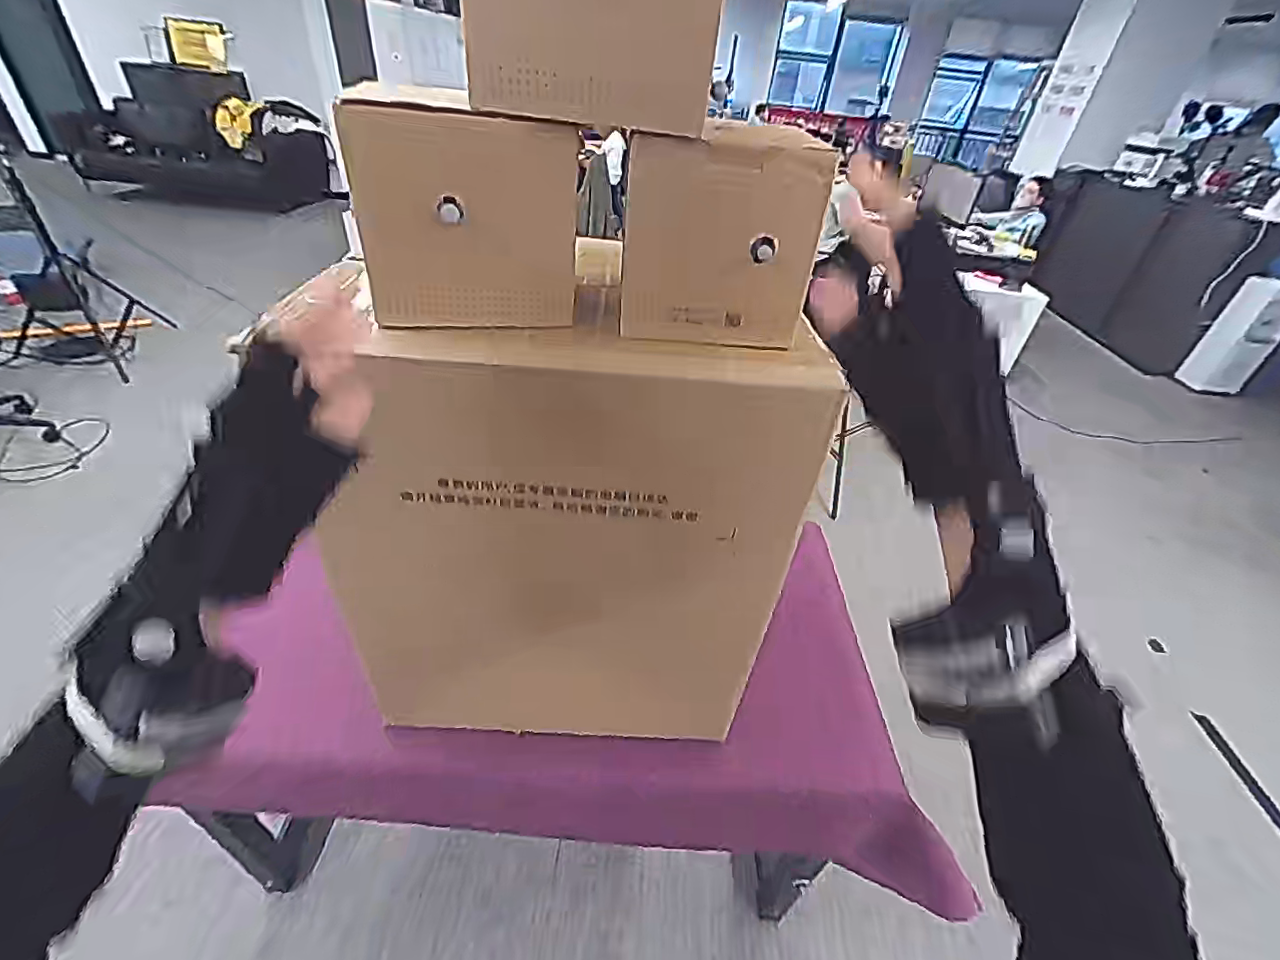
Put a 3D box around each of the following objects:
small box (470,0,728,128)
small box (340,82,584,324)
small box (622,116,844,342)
[{"bbox_3d":[-0.021,-0.377,0.410,0.179,0.176,0.168,6,38,-1],"label":"small box"},{"bbox_3d":[-0.151,-0.255,0.504,0.179,0.176,0.168,-3,39,-15],"label":"small box"},{"bbox_3d":[0.072,-0.246,0.525,0.168,0.176,0.179,4,37,-3],"label":"small box"}]
